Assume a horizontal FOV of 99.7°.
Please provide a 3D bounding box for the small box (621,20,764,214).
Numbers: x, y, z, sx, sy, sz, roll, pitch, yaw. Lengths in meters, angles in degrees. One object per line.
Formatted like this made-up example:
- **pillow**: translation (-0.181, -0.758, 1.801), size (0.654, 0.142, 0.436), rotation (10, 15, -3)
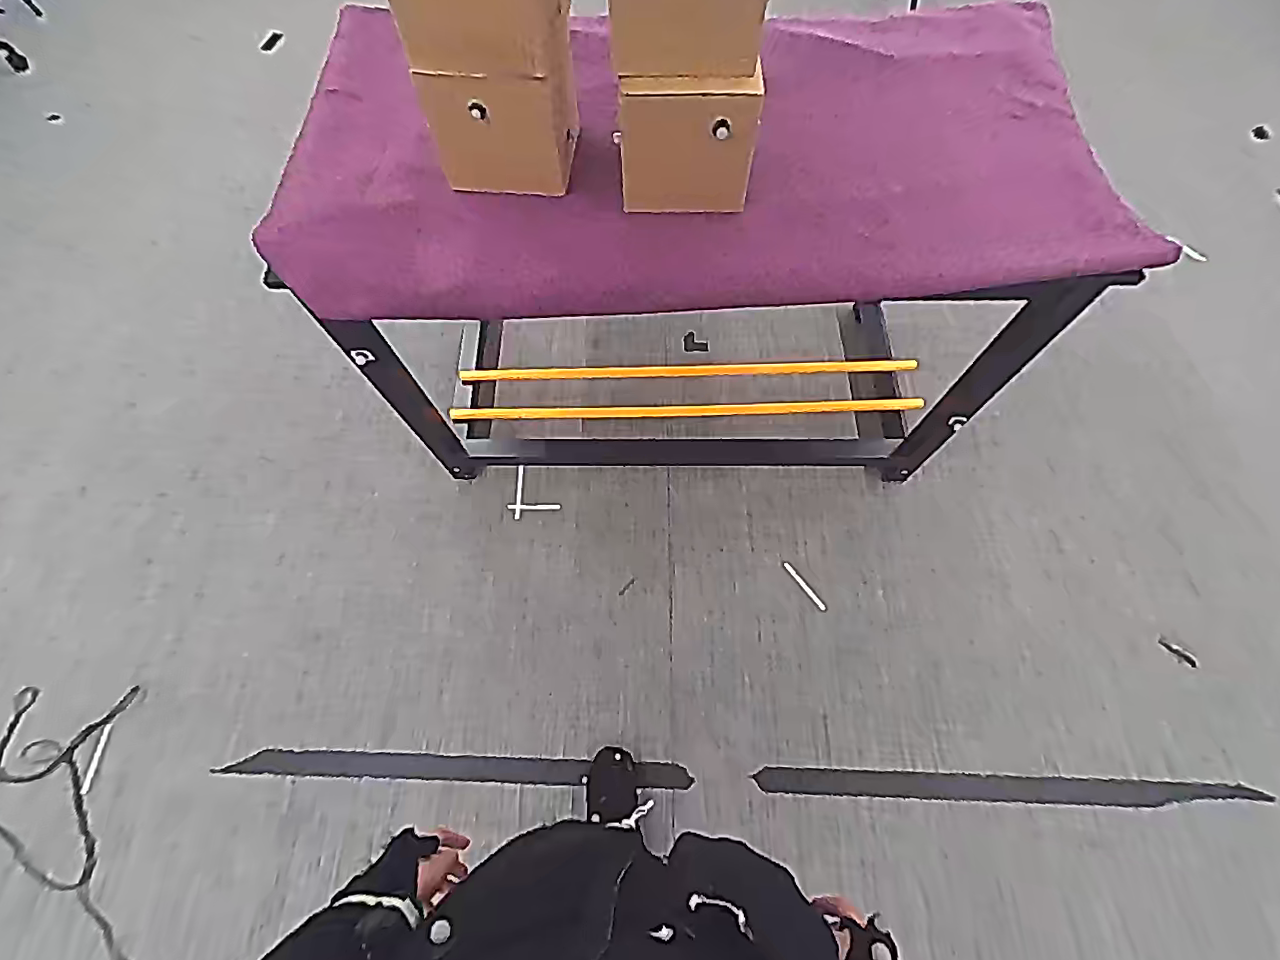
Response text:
- **small box**: translation (0.065, -0.497, 0.755), size (0.179, 0.176, 0.168), rotation (1, 65, 1)

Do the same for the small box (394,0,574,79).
- **small box**: translation (-0.182, -0.605, 0.628), size (0.179, 0.176, 0.168), rotation (8, 67, 5)
